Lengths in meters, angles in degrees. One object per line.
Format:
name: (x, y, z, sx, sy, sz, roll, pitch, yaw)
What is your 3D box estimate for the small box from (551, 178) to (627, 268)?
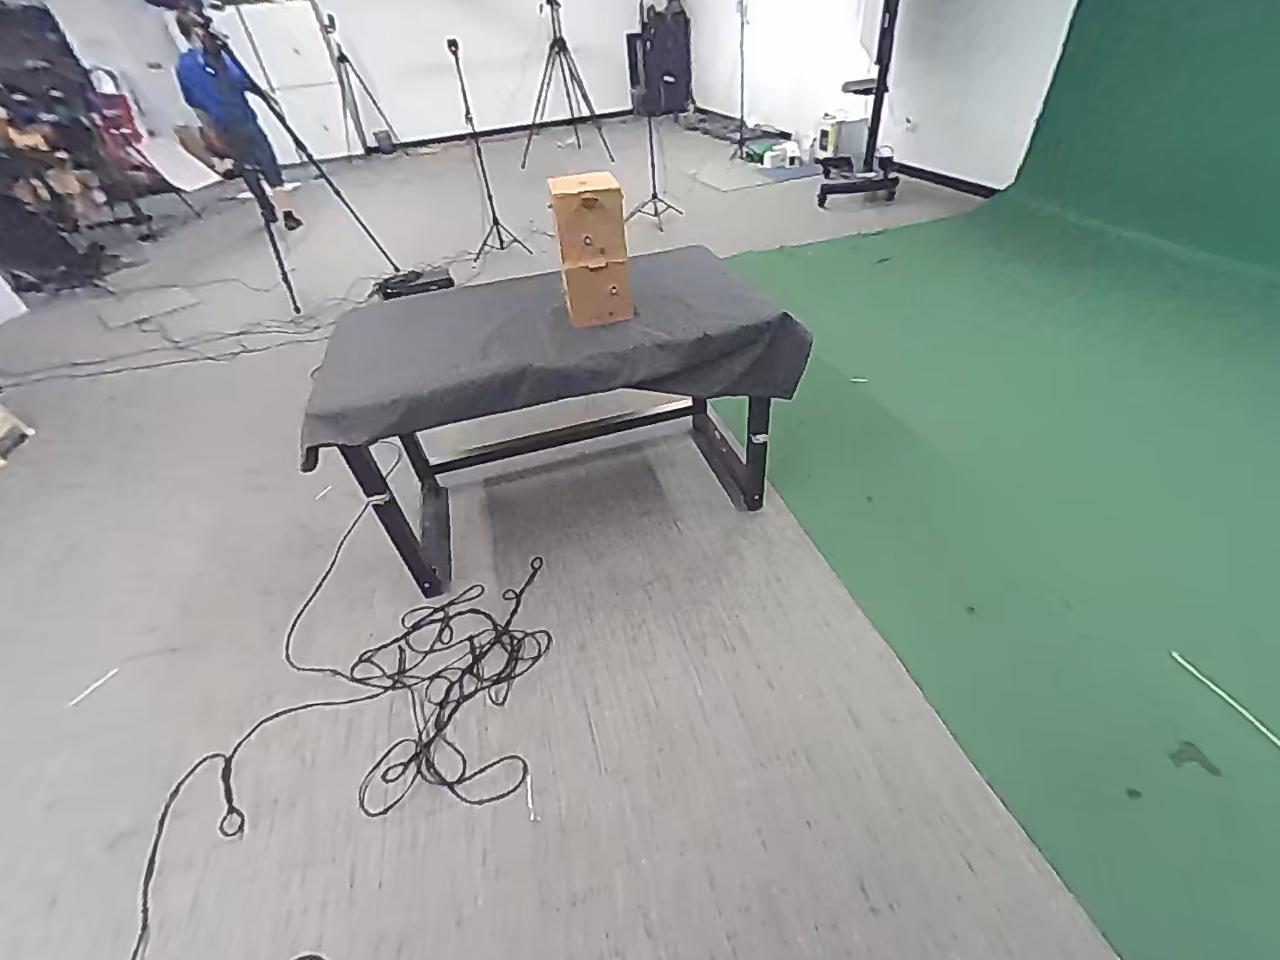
small box: (-0.131, -0.660, 1.388, 0.168, 0.176, 0.179, -11, 41, -7)

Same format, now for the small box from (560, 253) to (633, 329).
small box: (-0.118, -0.525, 1.479, 0.168, 0.176, 0.179, -11, 39, -7)
